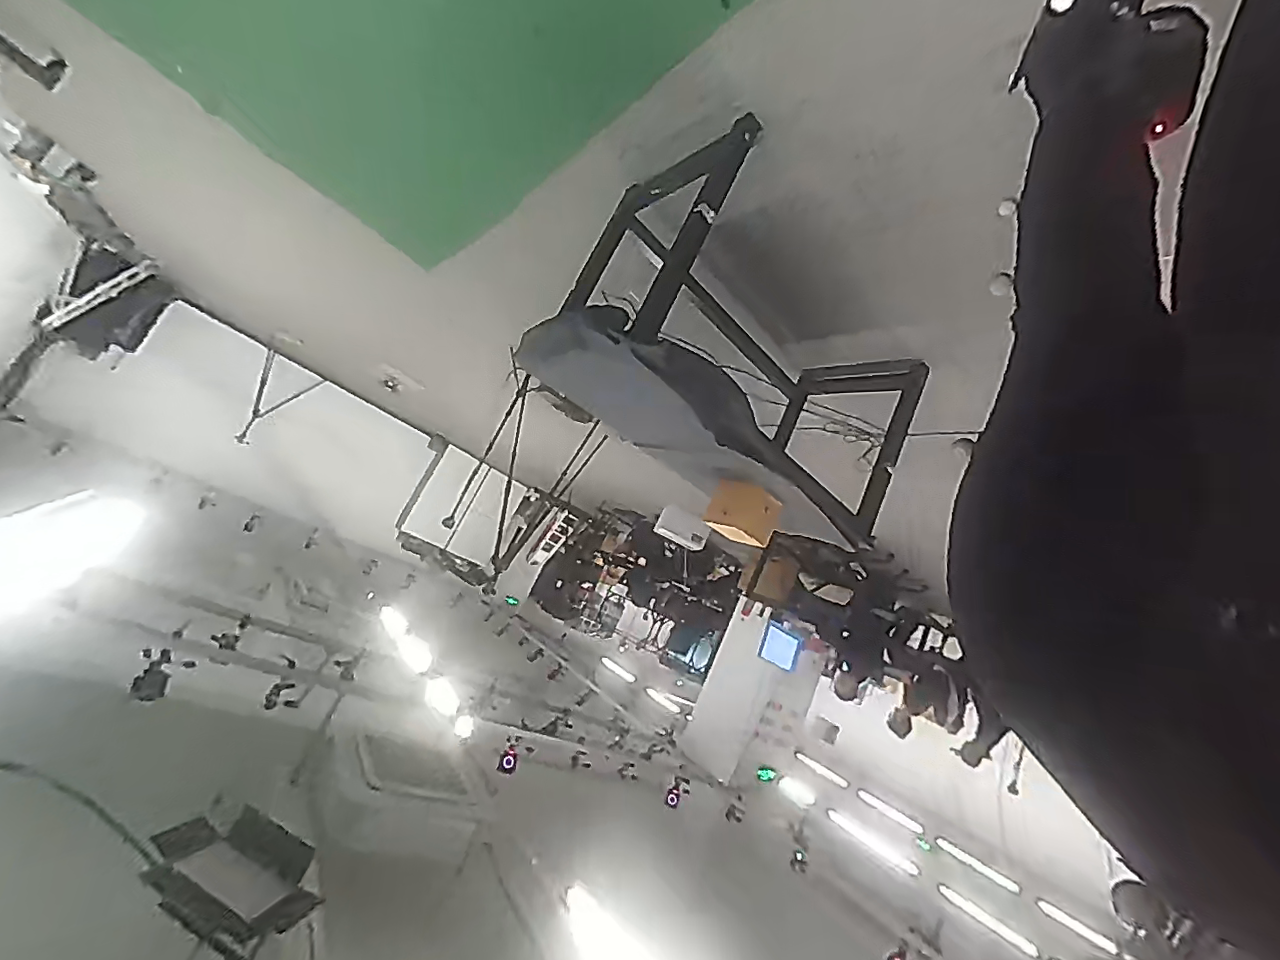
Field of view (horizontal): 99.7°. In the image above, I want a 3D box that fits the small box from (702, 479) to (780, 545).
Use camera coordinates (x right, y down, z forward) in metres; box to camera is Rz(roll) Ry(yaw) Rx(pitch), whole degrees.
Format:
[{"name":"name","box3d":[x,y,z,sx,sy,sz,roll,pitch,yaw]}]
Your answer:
[{"name":"small box","box3d":[0.354,0.106,1.890,0.168,0.176,0.179,34,165,-31]}]
